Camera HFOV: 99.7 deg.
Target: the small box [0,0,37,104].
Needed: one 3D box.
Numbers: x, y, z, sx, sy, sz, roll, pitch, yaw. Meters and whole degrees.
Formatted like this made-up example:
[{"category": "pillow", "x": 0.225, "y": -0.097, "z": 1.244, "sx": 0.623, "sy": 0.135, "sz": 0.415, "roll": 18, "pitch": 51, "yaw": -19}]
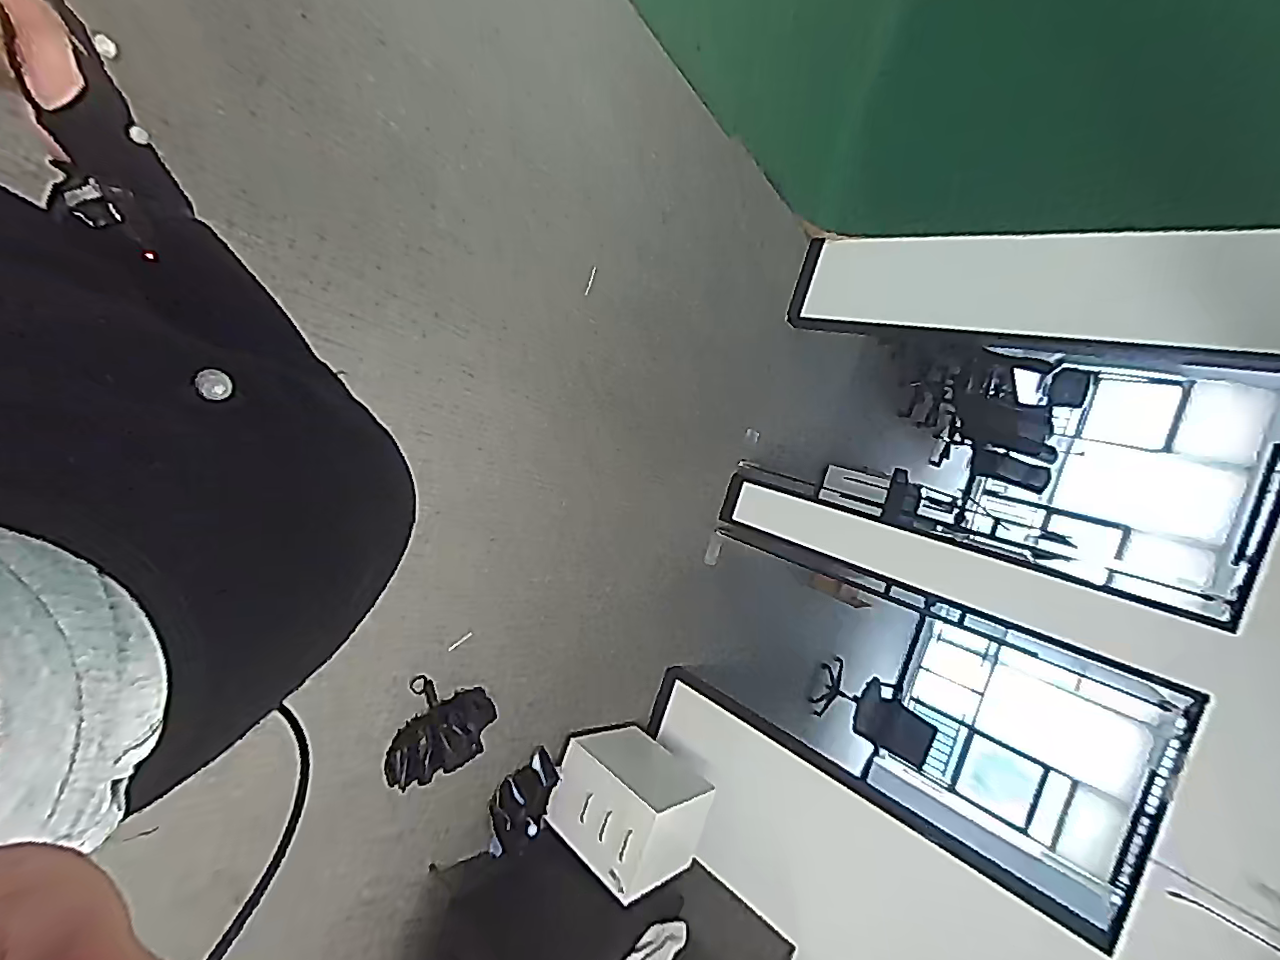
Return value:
[{"category": "small box", "x": -0.465, "y": -0.322, "z": 0.273, "sx": 0.179, "sy": 0.176, "sz": 0.168, "roll": -14, "pitch": 111, "yaw": -39}]
